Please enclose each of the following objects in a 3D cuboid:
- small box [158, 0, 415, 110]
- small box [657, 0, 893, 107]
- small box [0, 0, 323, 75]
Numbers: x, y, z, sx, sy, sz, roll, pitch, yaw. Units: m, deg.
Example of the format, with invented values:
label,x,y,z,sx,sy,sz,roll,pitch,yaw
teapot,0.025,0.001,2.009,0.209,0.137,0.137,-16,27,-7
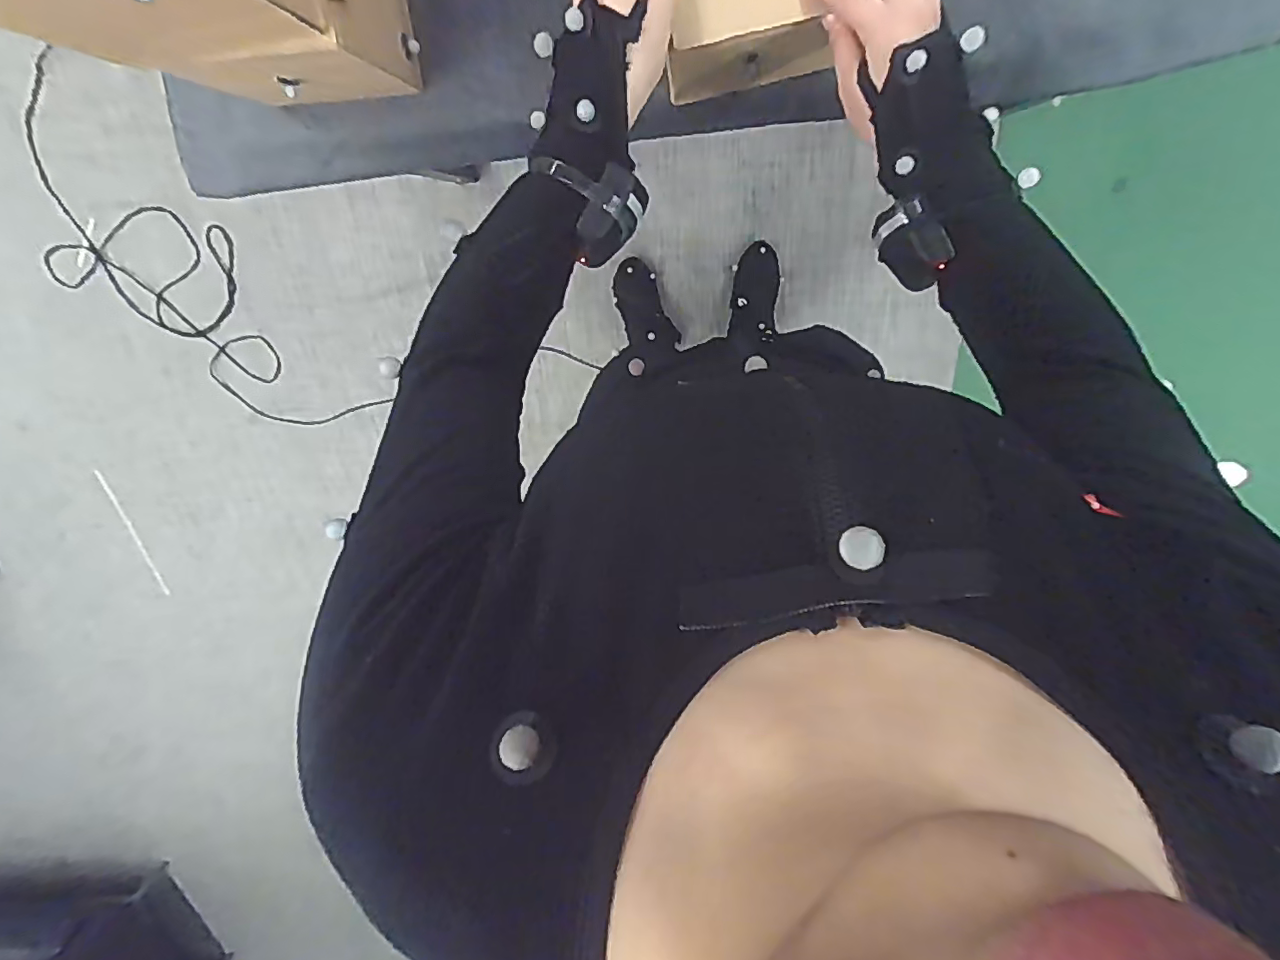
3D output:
label,x,y,z,sx,sy,sz,roll,pitch,yaw
small box,-0.327,-0.454,0.491,0.179,0.176,0.168,-2,115,5
small box,0.101,-0.448,0.464,0.179,0.176,0.168,-8,113,9
small box,-0.352,-0.388,0.344,0.179,0.176,0.168,-6,114,6
